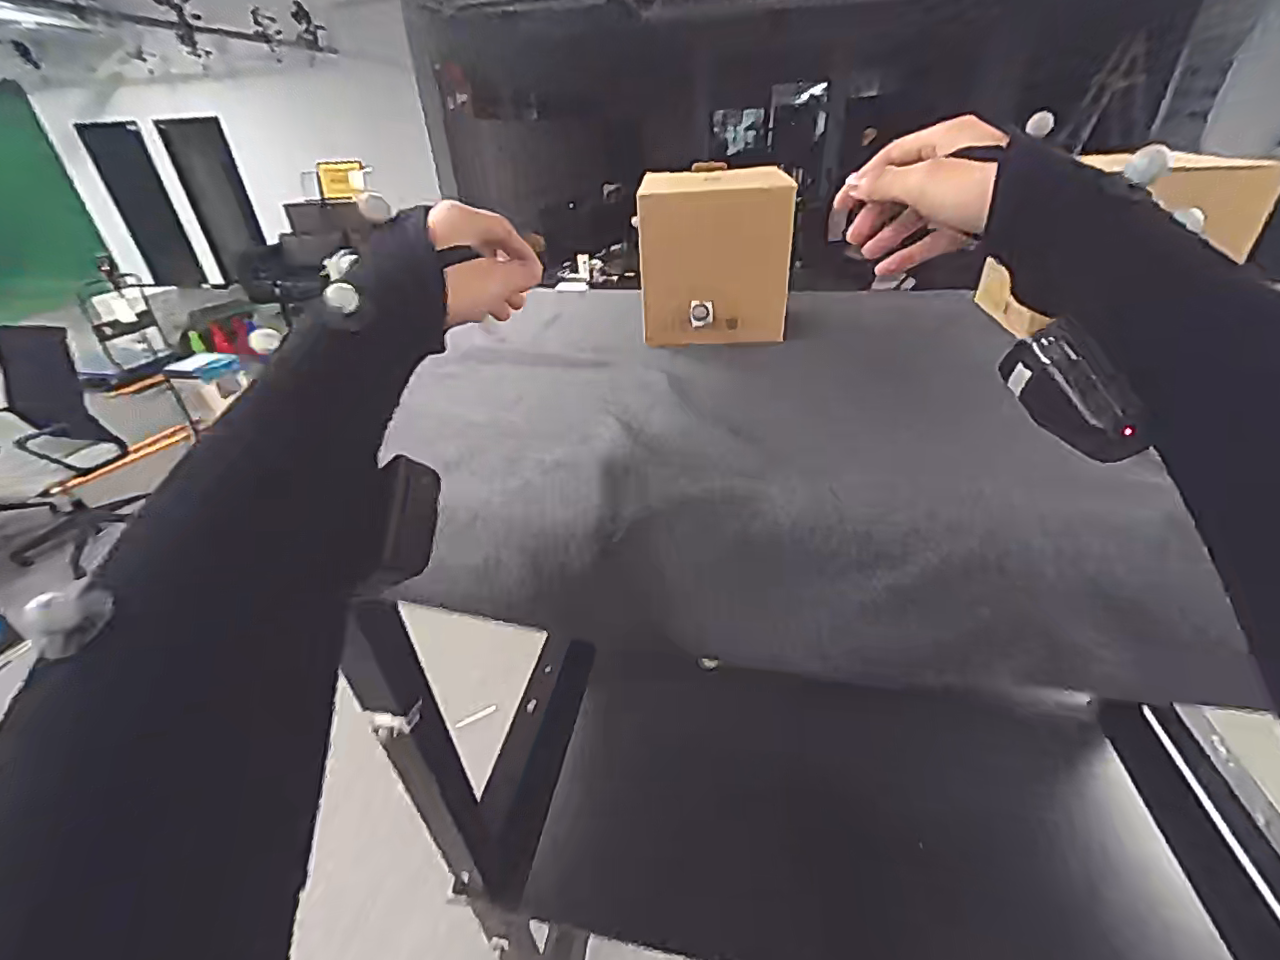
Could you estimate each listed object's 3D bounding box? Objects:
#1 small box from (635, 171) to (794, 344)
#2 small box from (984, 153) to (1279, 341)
[{"bbox_3d":[0.086,-0.275,0.665,0.168,0.176,0.179,-1,33,5],"label":"small box"},{"bbox_3d":[0.515,-0.262,0.606,0.179,0.176,0.168,4,34,10],"label":"small box"}]
